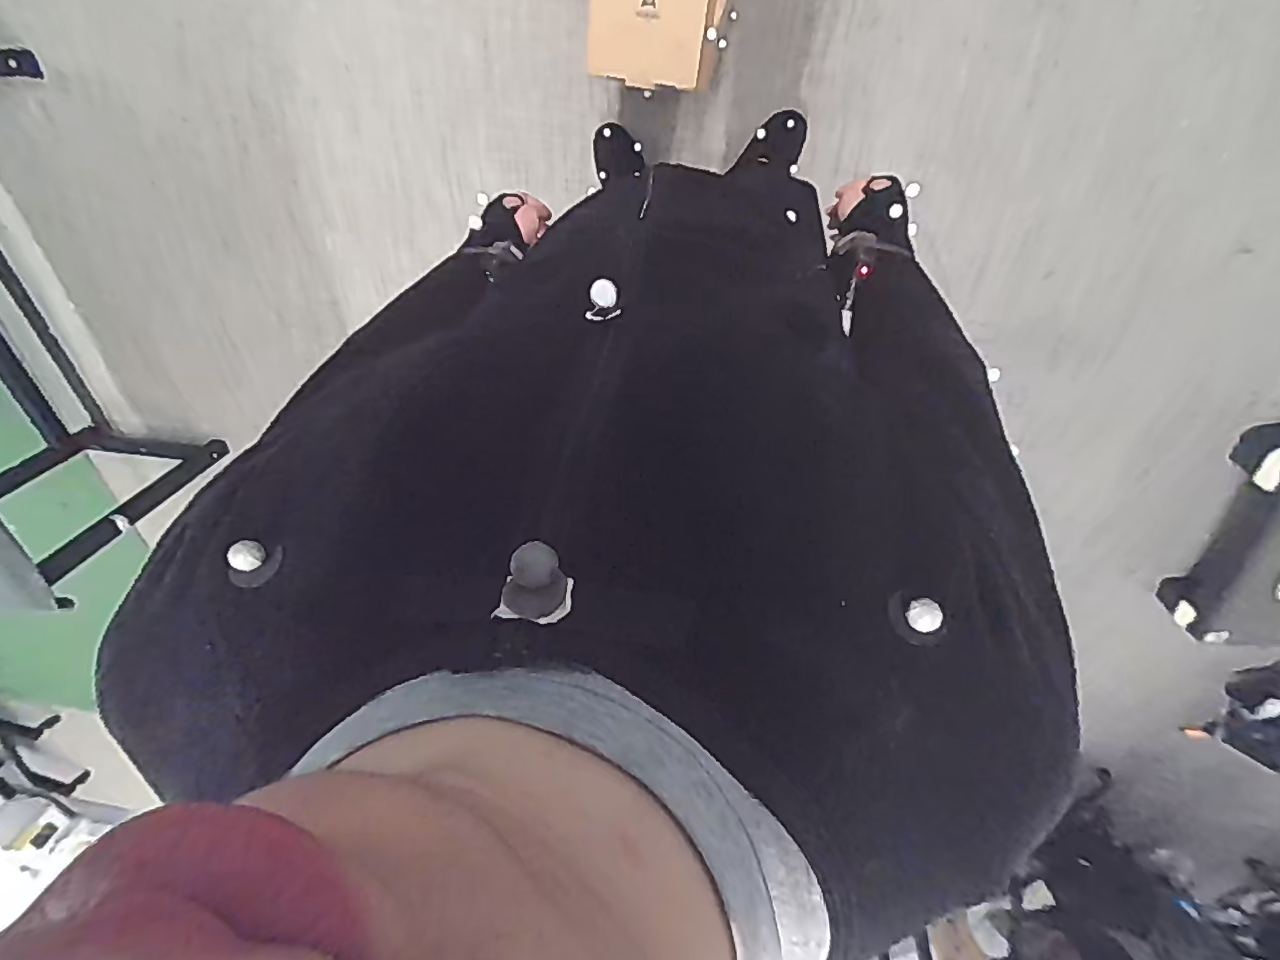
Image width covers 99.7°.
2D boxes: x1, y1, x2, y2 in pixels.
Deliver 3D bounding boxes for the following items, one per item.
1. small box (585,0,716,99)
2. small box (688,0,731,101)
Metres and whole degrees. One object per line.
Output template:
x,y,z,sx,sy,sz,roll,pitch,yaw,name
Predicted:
0.022,-0.697,0.816,0.168,0.176,0.179,12,127,2,small box
0.056,-0.793,0.942,0.168,0.176,0.179,19,127,-3,small box
